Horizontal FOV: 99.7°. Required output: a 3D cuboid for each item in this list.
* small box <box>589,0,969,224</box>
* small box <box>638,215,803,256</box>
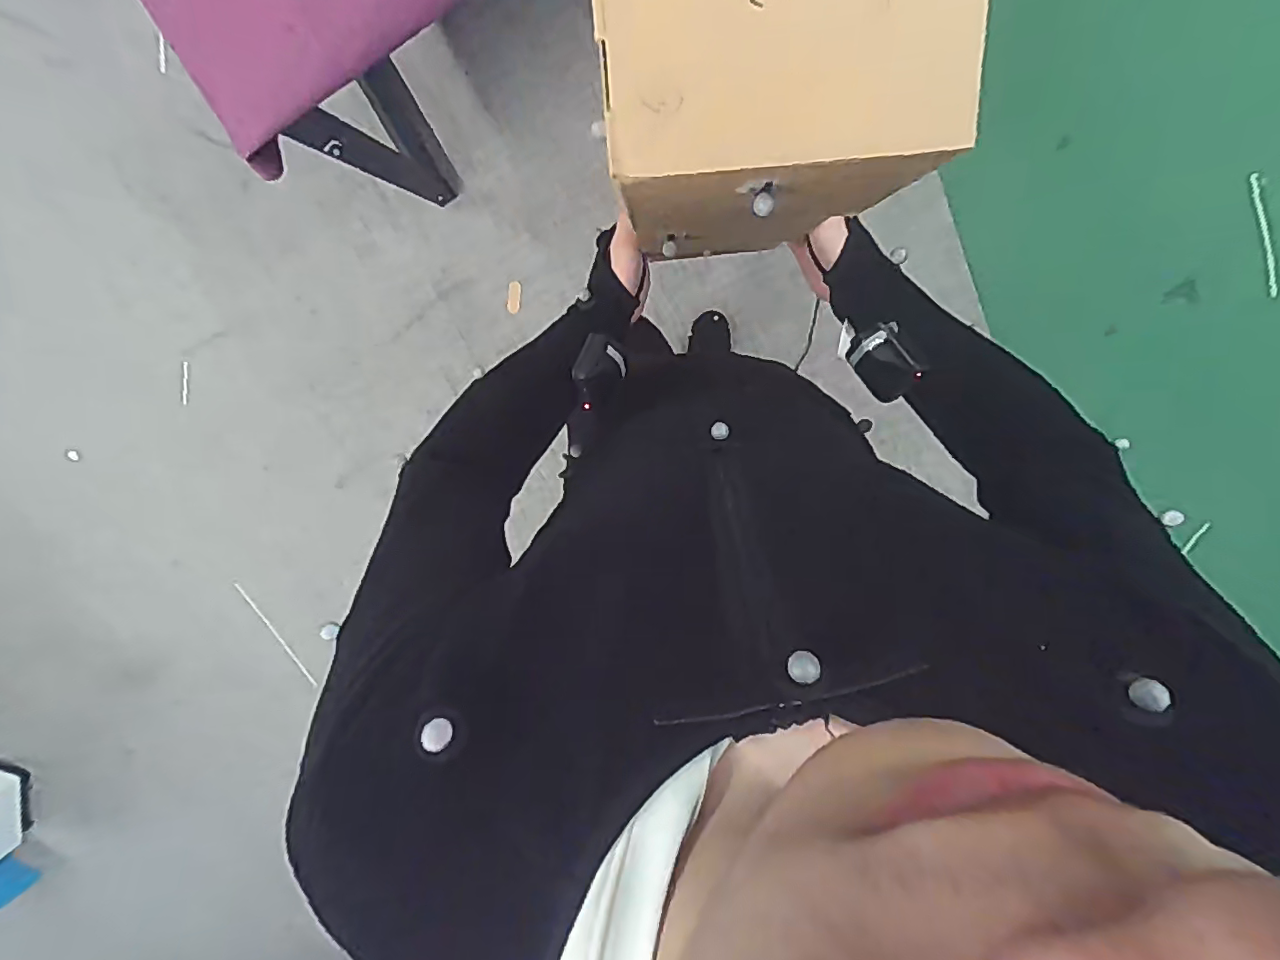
[{"bbox_3d":[0.068,-0.258,0.321,0.179,0.176,0.168,-2,107,4],"label":"small box"},{"bbox_3d":[0.086,-0.365,0.631,0.179,0.176,0.168,-4,105,5],"label":"small box"}]
